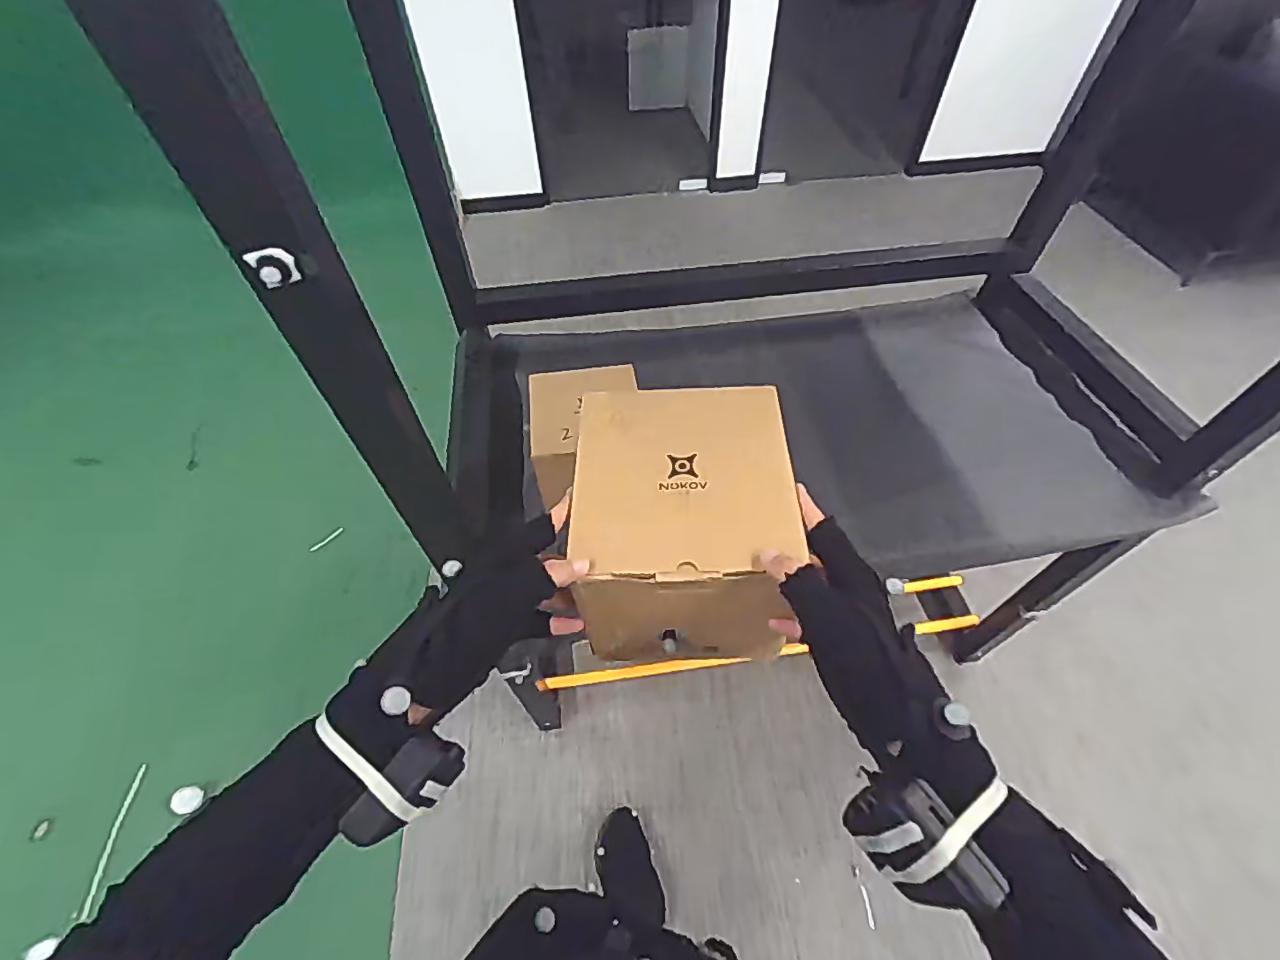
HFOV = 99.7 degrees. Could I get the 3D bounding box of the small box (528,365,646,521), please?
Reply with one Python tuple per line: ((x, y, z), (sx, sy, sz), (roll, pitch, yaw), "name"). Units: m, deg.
((-0.082, -0.058, 0.862), (0.168, 0.176, 0.179), (-7, 52, -4), "small box")
